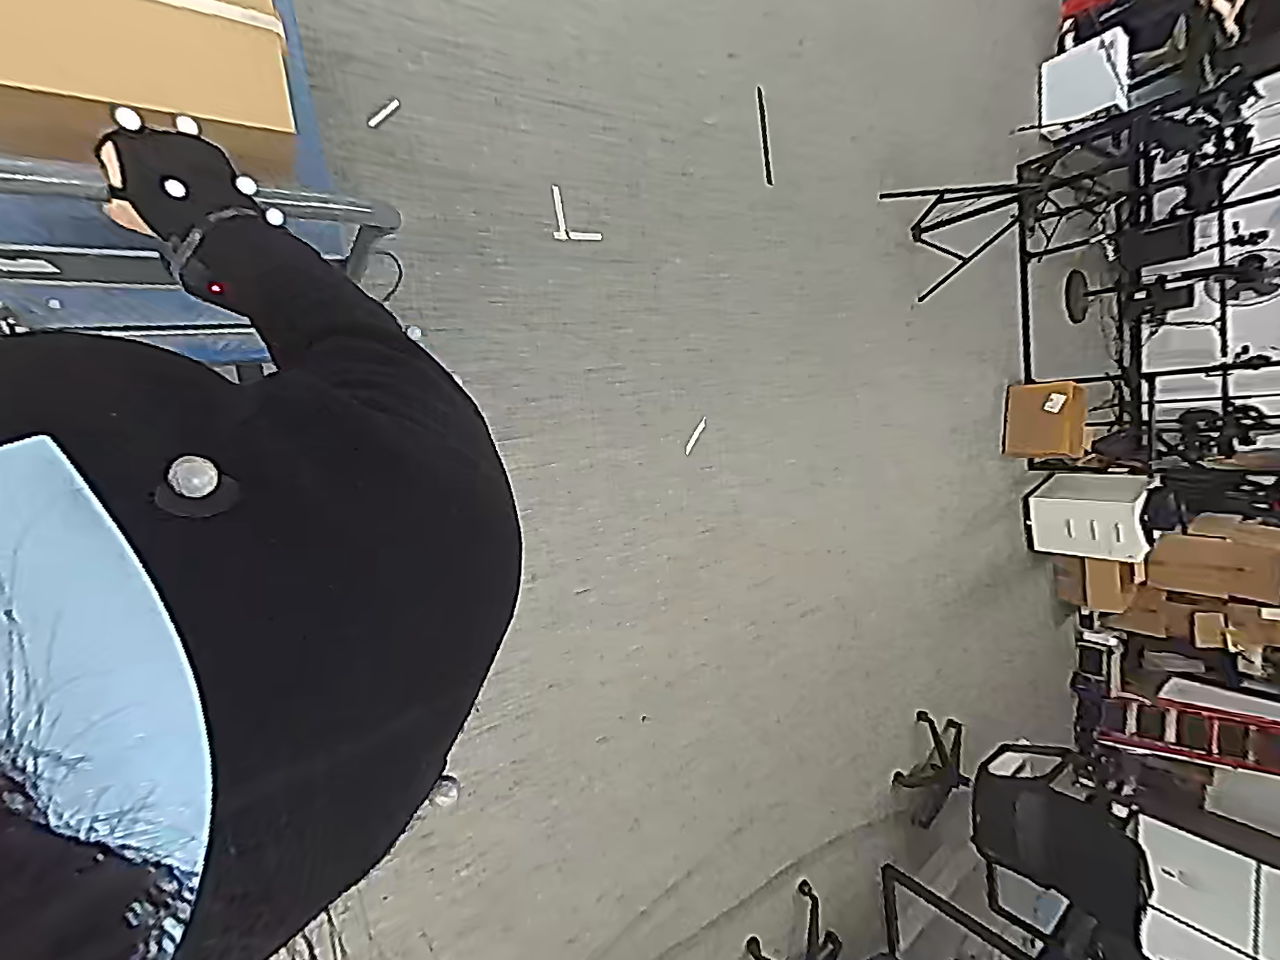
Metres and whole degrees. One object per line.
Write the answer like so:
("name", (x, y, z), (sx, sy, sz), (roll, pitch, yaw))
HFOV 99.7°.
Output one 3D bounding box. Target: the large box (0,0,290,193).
("large box", (-0.831, -0.693, 0.866), (0.408, 0.320, 0.320), (-12, 98, -34))
